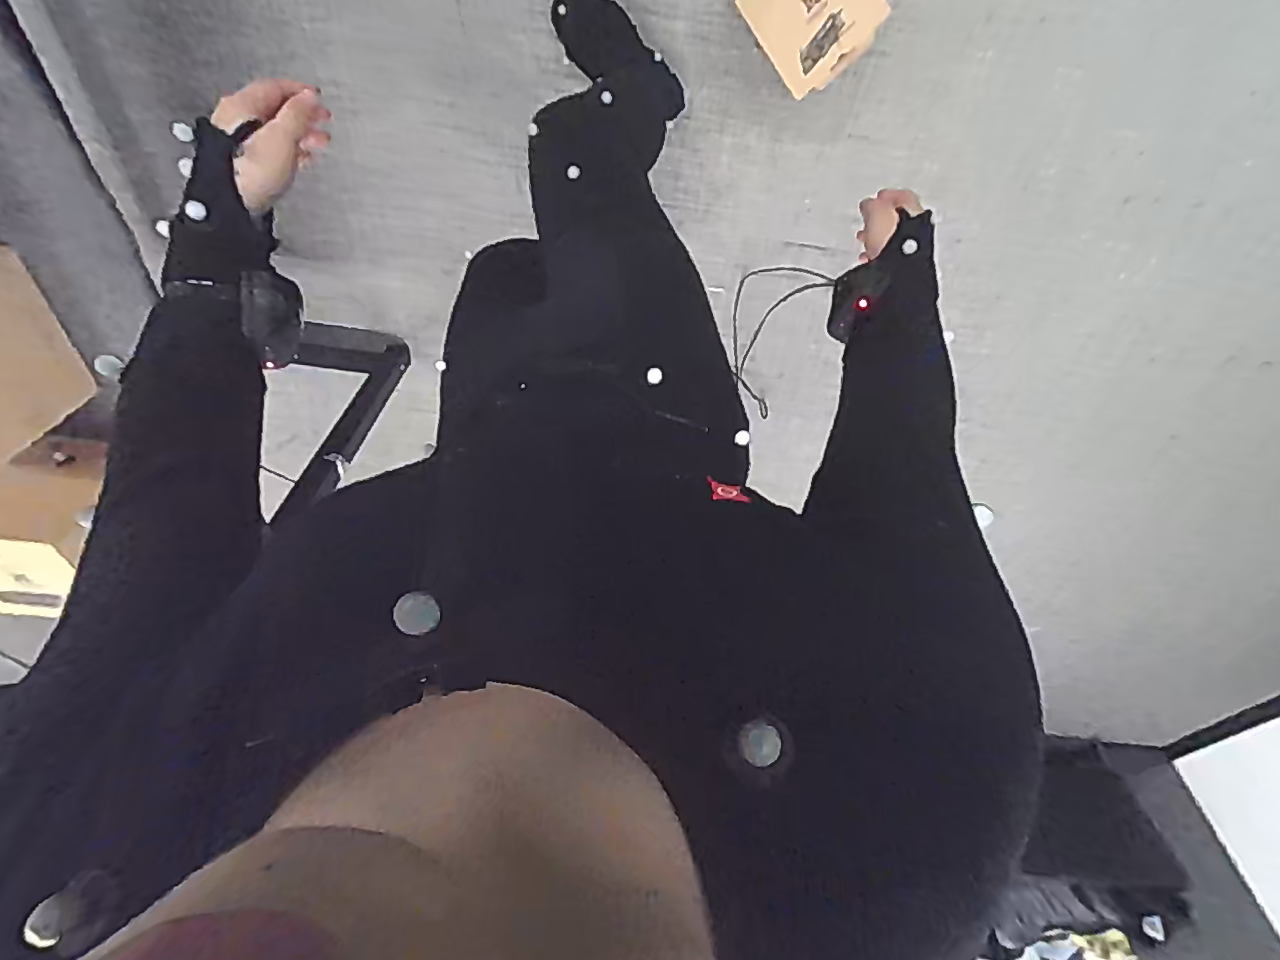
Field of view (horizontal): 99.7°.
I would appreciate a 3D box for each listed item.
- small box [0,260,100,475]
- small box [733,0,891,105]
[{"bbox_3d":[-0.698,-0.122,0.517,0.168,0.176,0.179,12,136,-6],"label":"small box"},{"bbox_3d":[0.265,-0.753,0.860,0.168,0.176,0.179,-33,124,31],"label":"small box"}]
